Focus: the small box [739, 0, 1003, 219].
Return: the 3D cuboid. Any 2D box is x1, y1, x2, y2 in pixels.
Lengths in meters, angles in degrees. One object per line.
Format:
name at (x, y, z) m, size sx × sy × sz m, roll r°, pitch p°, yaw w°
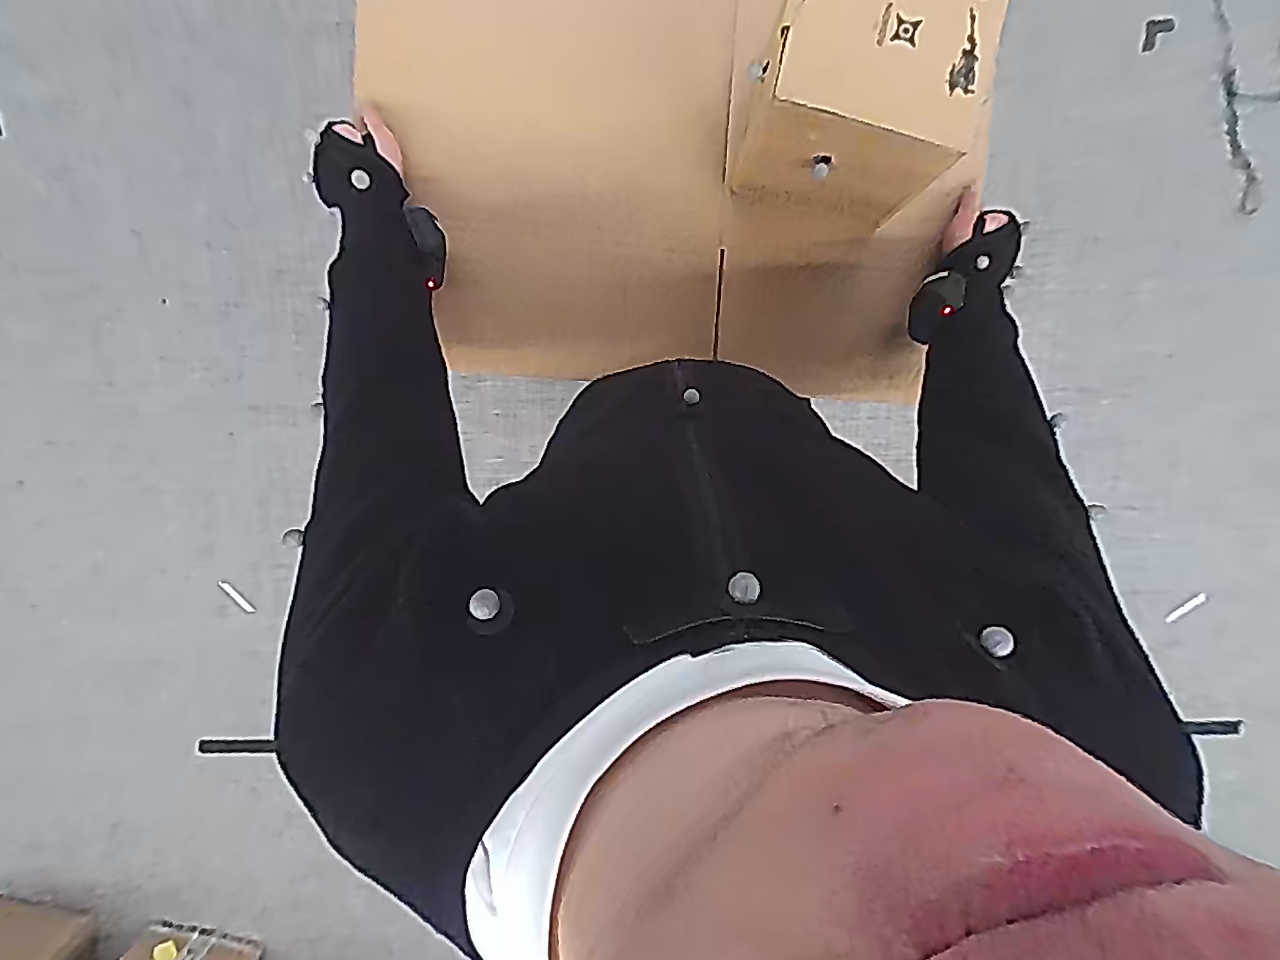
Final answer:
small box at (0.210, -0.386, 0.534) m, size 0.179 × 0.176 × 0.168 m, roll 14°, pitch 93°, yaw -2°
